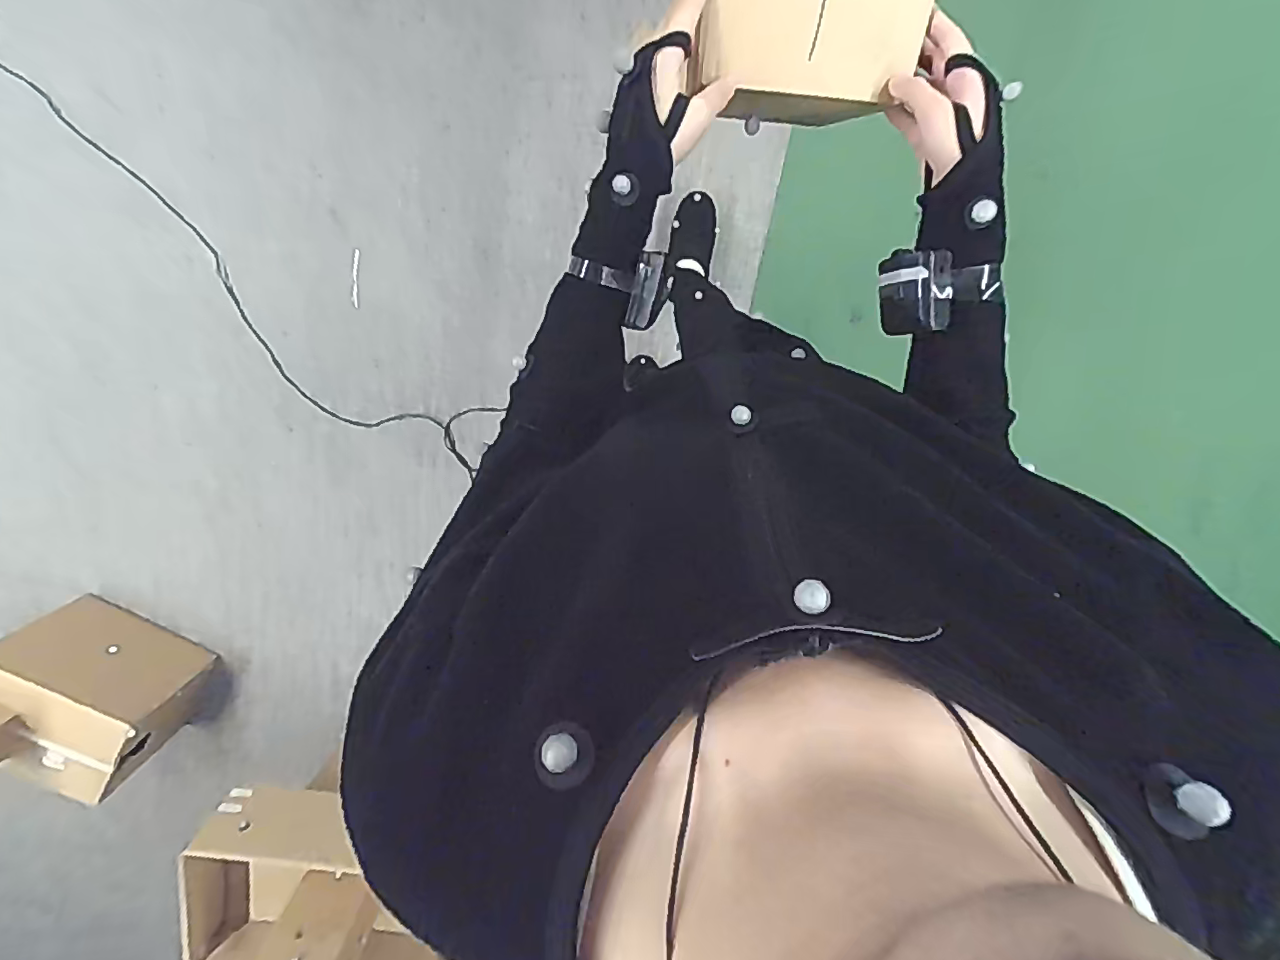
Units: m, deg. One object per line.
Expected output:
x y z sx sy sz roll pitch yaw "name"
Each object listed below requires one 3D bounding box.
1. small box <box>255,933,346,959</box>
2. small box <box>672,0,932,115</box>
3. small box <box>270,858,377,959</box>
-0.733 1.091 1.122 0.168 0.176 0.179 7 105 -3 "small box"
0.124 -0.415 0.435 0.168 0.176 0.179 1 119 -7 "small box"
-0.742 1.047 1.280 0.168 0.176 0.179 9 105 -5 "small box"
